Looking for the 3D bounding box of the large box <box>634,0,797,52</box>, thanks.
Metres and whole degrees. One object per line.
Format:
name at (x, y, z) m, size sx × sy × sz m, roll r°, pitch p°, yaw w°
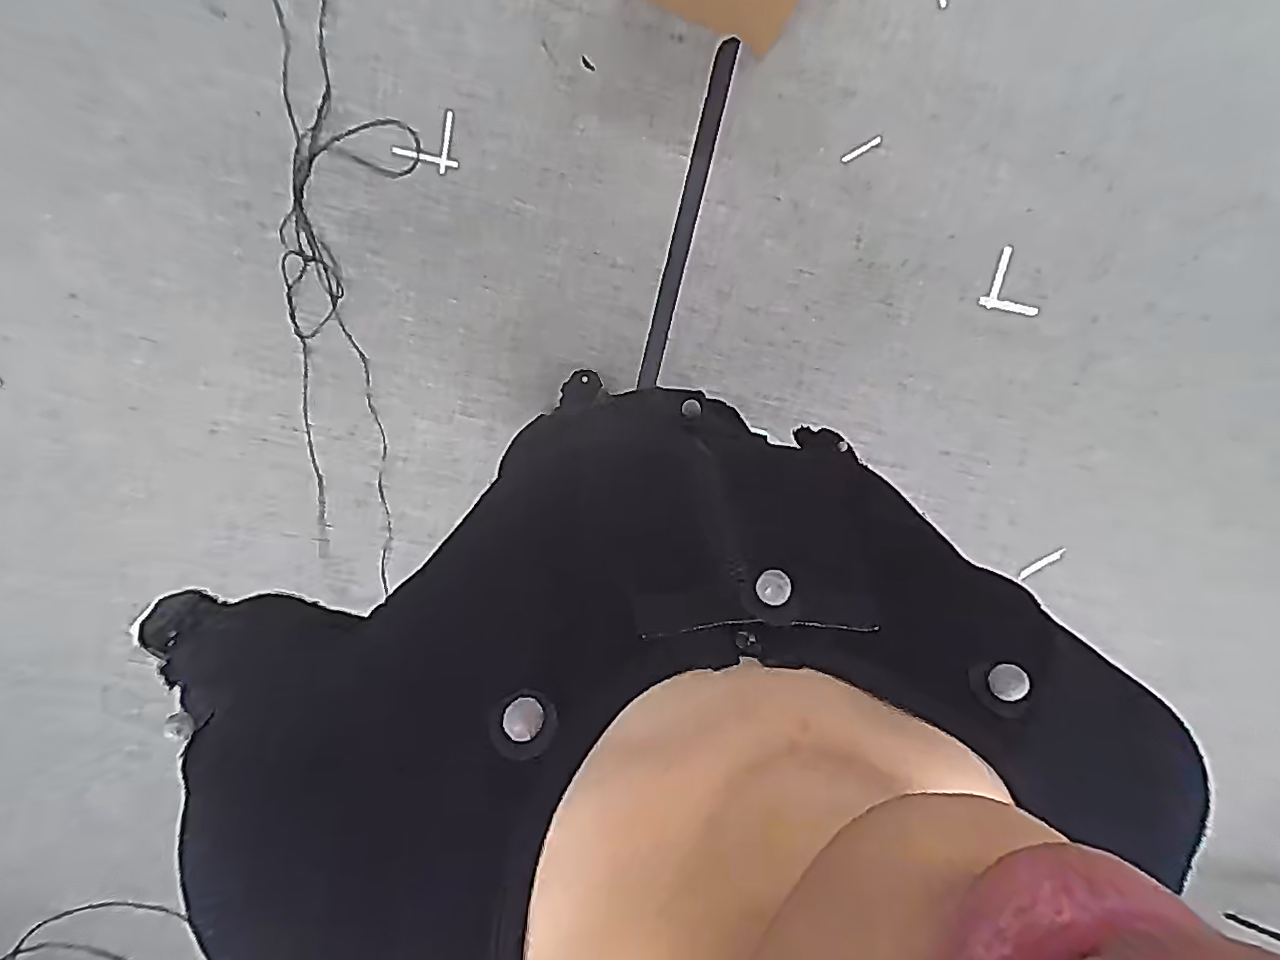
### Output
large box at (0.172, -1.190, 1.110) m, size 0.408 × 0.320 × 0.320 m, roll 17°, pitch 101°, yaw -8°
